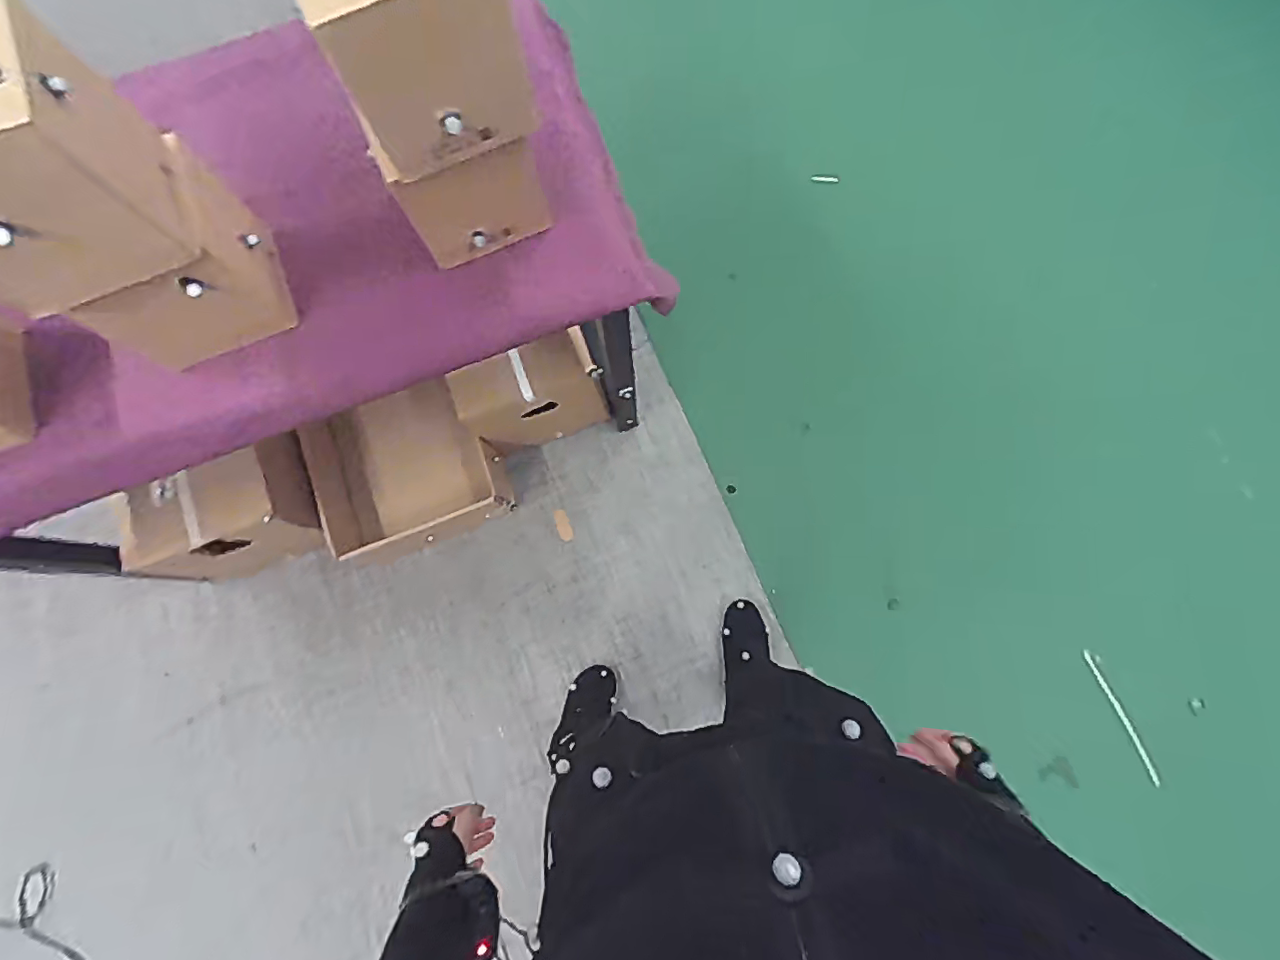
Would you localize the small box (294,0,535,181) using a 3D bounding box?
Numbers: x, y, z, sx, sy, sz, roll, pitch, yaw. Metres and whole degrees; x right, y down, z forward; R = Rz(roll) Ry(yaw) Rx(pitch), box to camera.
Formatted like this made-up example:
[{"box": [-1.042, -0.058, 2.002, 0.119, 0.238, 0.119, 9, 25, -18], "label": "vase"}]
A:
[{"box": [-0.224, -0.446, 0.536, 0.168, 0.176, 0.179, -24, 76, -3], "label": "small box"}]

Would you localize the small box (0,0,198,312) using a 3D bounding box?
[{"box": [-0.576, -0.289, 0.506, 0.179, 0.176, 0.168, -24, 77, -4], "label": "small box"}]

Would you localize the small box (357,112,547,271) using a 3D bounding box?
[{"box": [-0.237, -0.411, 0.697, 0.168, 0.176, 0.179, -24, 76, -3], "label": "small box"}]

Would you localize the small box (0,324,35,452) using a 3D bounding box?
[{"box": [-0.895, -0.124, 0.644, 0.168, 0.176, 0.179, -21, 77, -4], "label": "small box"}]

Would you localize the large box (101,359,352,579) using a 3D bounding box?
[{"box": [-0.963, -0.009, 1.299, 0.320, 0.320, 0.408, -22, 78, -4], "label": "large box"}]

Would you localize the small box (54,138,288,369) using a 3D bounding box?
[{"box": [-0.574, -0.267, 0.669, 0.179, 0.176, 0.168, -23, 76, -4], "label": "small box"}]
